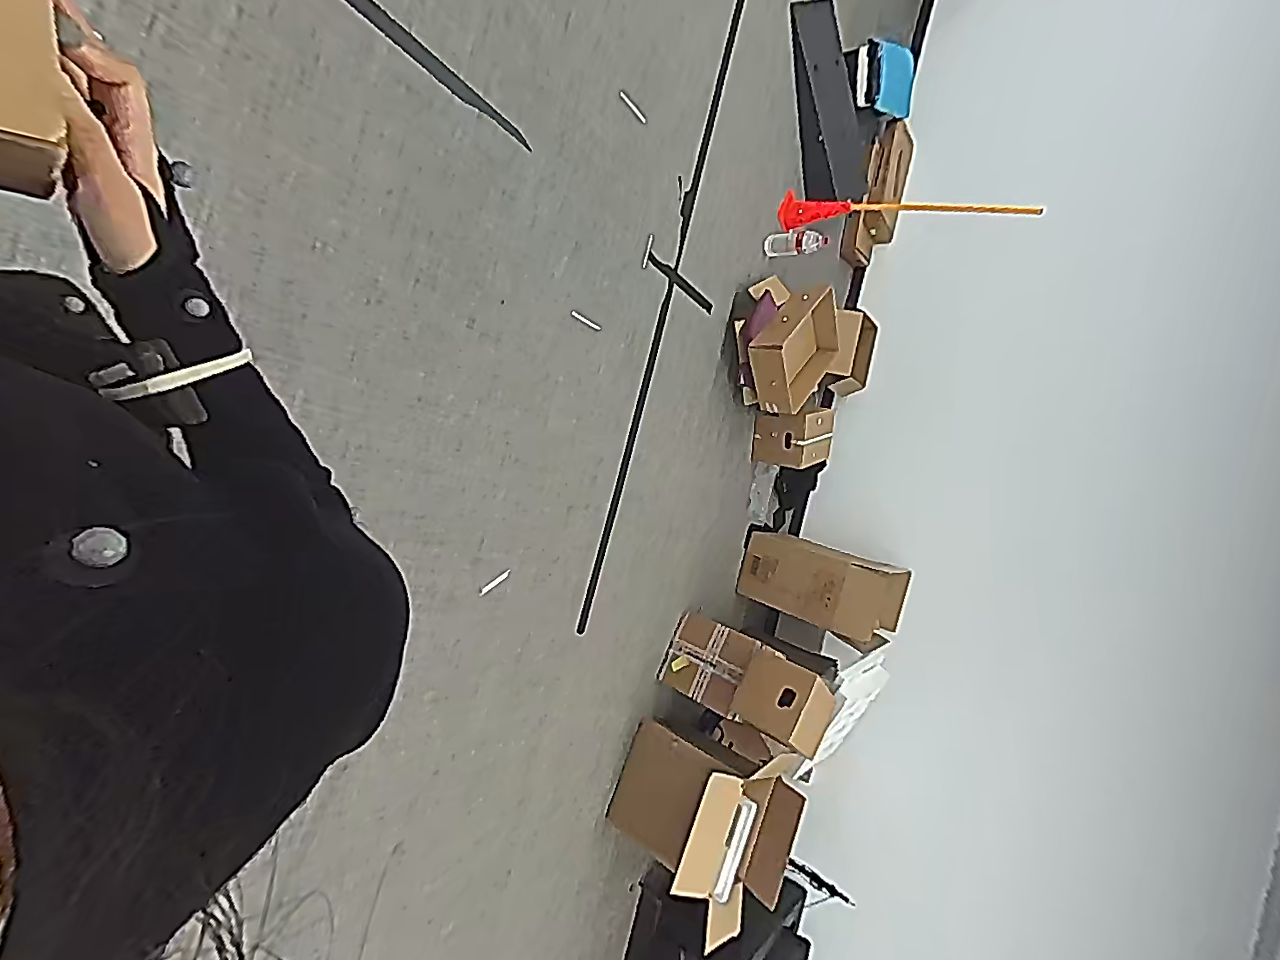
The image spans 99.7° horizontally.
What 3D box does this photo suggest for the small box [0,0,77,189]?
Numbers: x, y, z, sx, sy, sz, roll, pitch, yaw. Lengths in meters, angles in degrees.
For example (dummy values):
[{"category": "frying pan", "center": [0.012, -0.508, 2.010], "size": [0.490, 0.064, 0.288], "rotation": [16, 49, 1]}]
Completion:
[{"category": "small box", "center": [-0.353, -0.238, 0.217], "size": [0.168, 0.176, 0.179], "rotation": [-7, 108, -49]}]
